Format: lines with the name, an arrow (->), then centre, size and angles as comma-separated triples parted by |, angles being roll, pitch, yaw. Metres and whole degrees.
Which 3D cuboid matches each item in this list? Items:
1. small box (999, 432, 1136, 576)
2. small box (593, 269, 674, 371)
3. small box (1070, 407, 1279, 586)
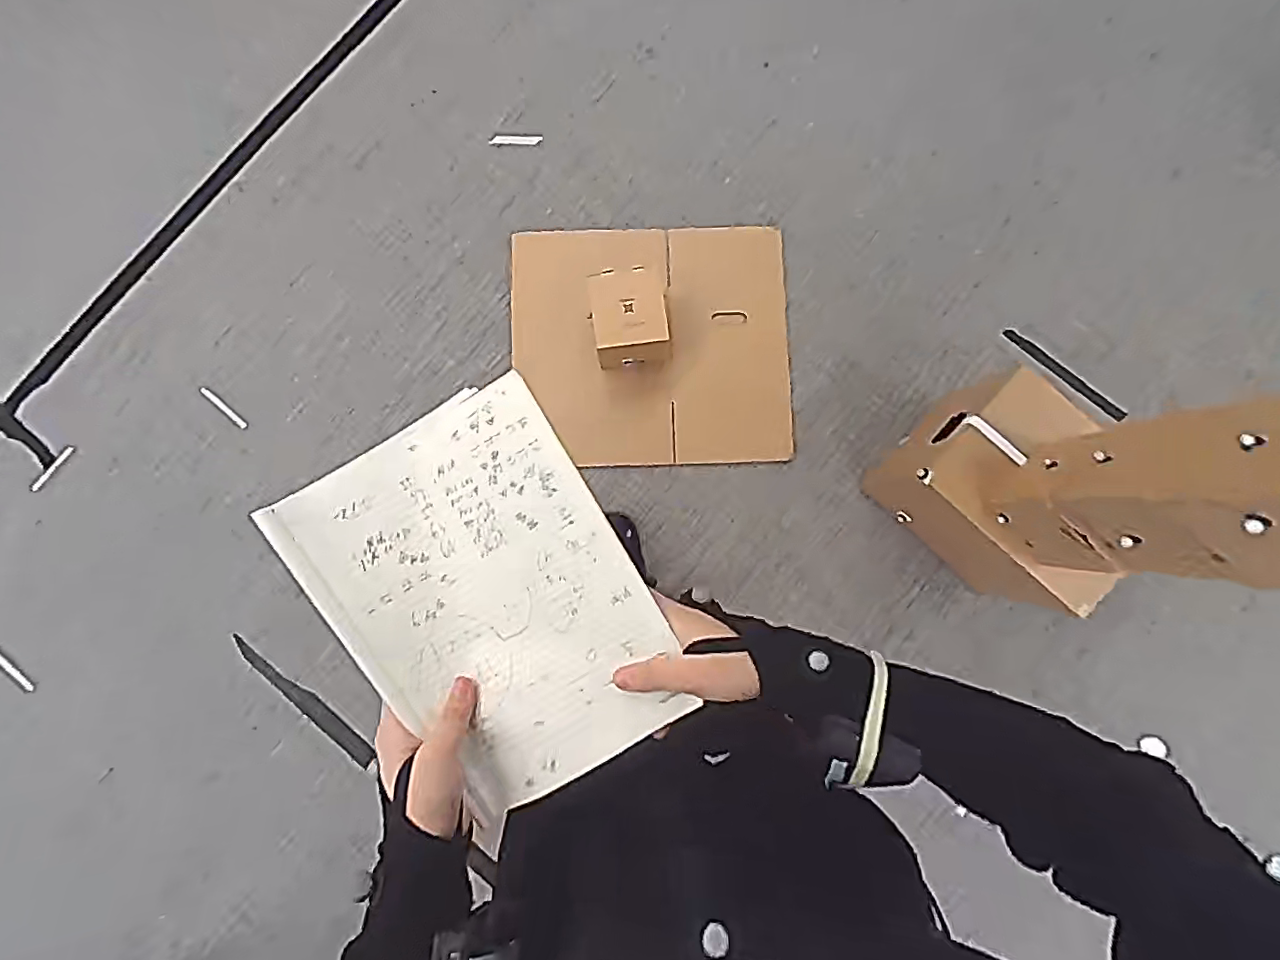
small box -> 0.775, 0.044, 0.943 | 0.179, 0.176, 0.168 | -44, 87, -3
small box -> -0.017, -0.372, 1.281 | 0.168, 0.176, 0.179 | -8, 87, 0
small box -> 0.780, 0.025, 0.780 | 0.168, 0.176, 0.179 | 42, 89, 3
